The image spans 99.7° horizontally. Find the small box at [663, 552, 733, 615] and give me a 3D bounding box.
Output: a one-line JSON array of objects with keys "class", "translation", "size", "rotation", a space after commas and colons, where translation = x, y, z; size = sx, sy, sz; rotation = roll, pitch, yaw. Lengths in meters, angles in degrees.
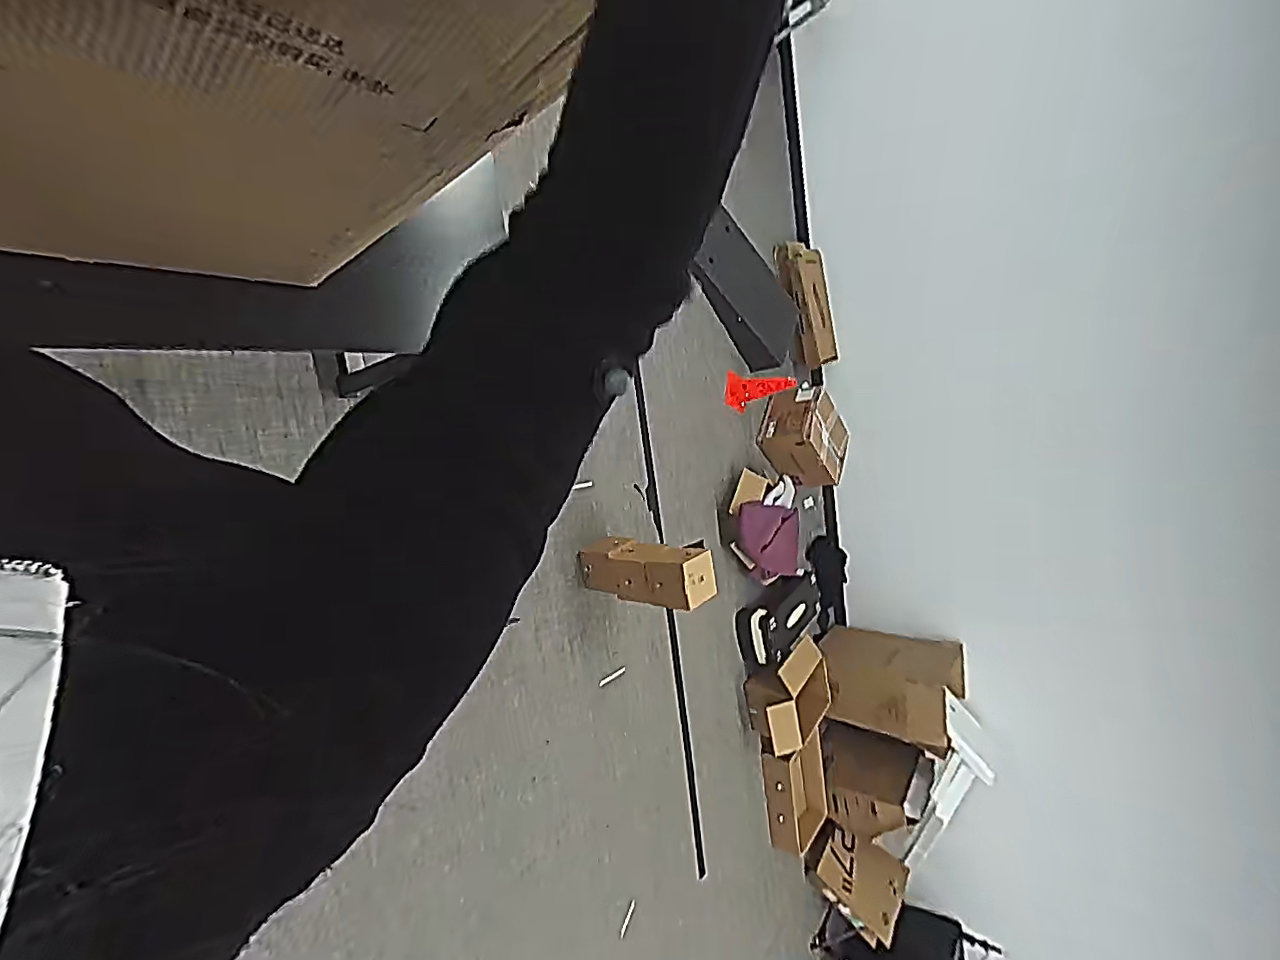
[{"class": "small box", "translation": [0.203, 0.355, 1.886], "size": [0.179, 0.176, 0.168], "rotation": [-18, 101, -49]}]

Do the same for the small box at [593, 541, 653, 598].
[{"class": "small box", "translation": [-0.054, 0.339, 2.094], "size": [0.179, 0.176, 0.168], "rotation": [-23, 105, -46]}]

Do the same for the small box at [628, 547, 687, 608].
[{"class": "small box", "translation": [0.073, 0.353, 1.989], "size": [0.179, 0.176, 0.168], "rotation": [-25, 107, -47]}]
